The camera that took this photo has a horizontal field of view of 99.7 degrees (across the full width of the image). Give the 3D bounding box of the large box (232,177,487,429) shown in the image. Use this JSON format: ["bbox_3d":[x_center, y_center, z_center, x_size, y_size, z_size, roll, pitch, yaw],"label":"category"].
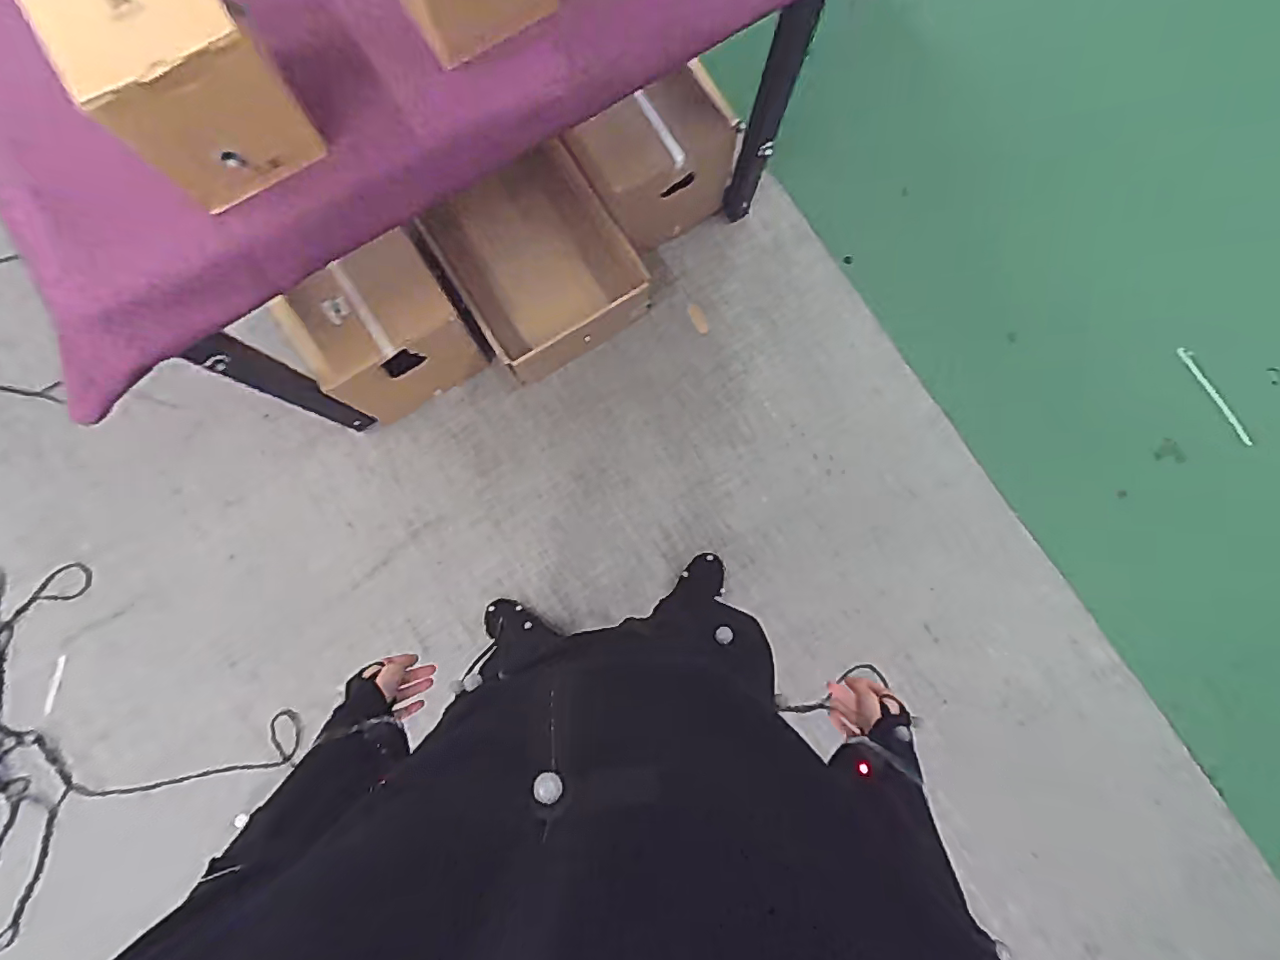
[{"bbox_3d":[-0.621,-0.390,1.269,0.320,0.320,0.408,-33,86,-5],"label":"large box"}]

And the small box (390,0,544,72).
[{"bbox_3d":[-0.227,-0.650,0.643,0.179,0.176,0.168,-34,83,-5],"label":"small box"}]

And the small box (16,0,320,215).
[{"bbox_3d":[-0.514,-0.448,0.612,0.168,0.176,0.179,-32,84,-6],"label":"small box"}]
